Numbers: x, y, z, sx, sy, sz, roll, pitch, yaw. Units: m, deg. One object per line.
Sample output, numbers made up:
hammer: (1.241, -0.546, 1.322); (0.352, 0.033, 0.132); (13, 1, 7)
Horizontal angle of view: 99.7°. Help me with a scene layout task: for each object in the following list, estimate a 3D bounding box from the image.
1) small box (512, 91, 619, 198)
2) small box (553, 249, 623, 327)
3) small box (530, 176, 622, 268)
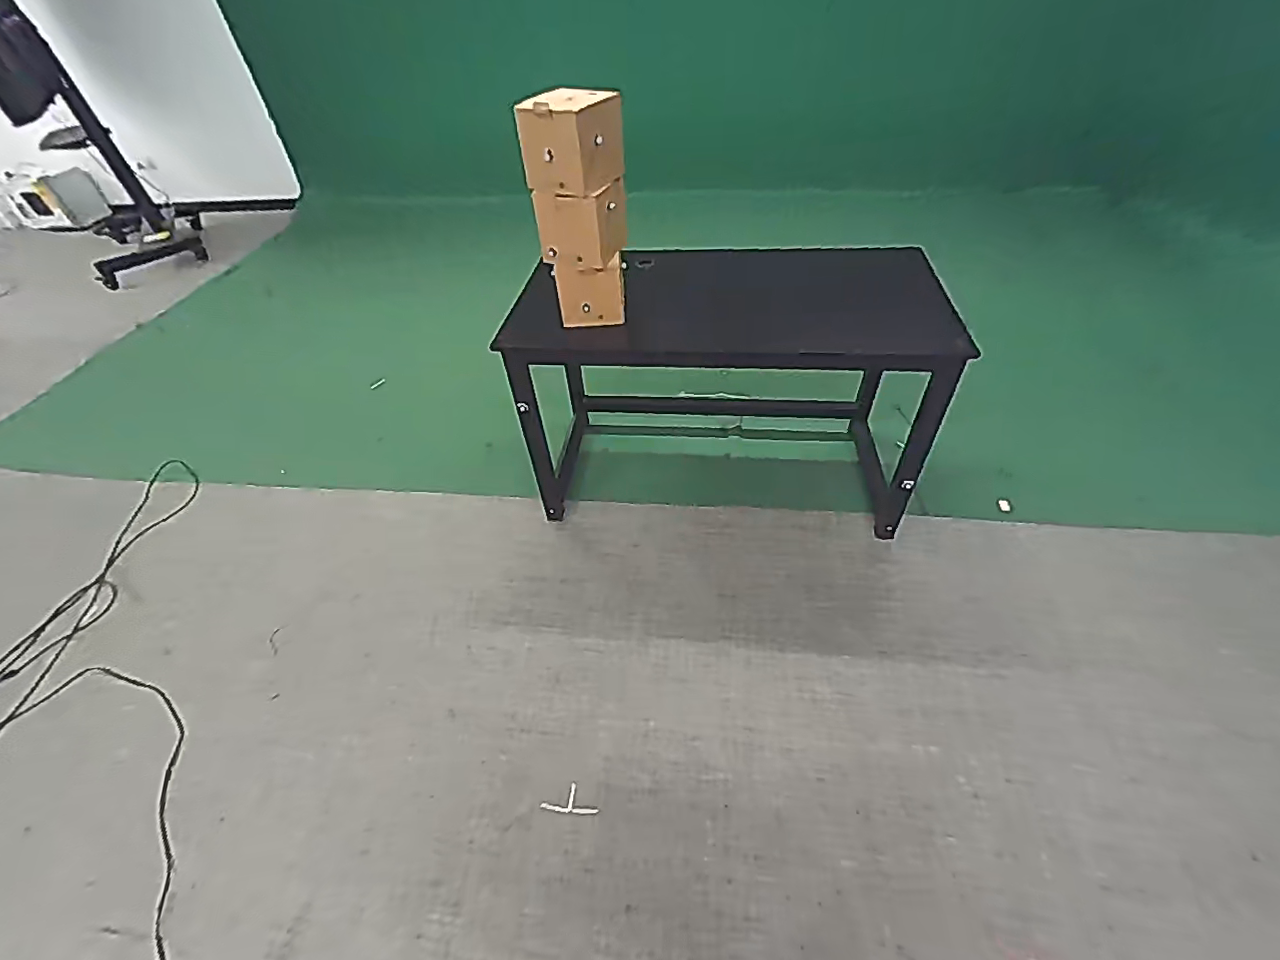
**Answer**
small box: (-0.160, -0.768, 1.241); (0.168, 0.176, 0.179); (22, 52, 22)
small box: (-0.136, -0.534, 1.470); (0.168, 0.176, 0.179); (-3, 46, 1)
small box: (-0.149, -0.649, 1.353); (0.168, 0.176, 0.179); (13, 48, 16)
